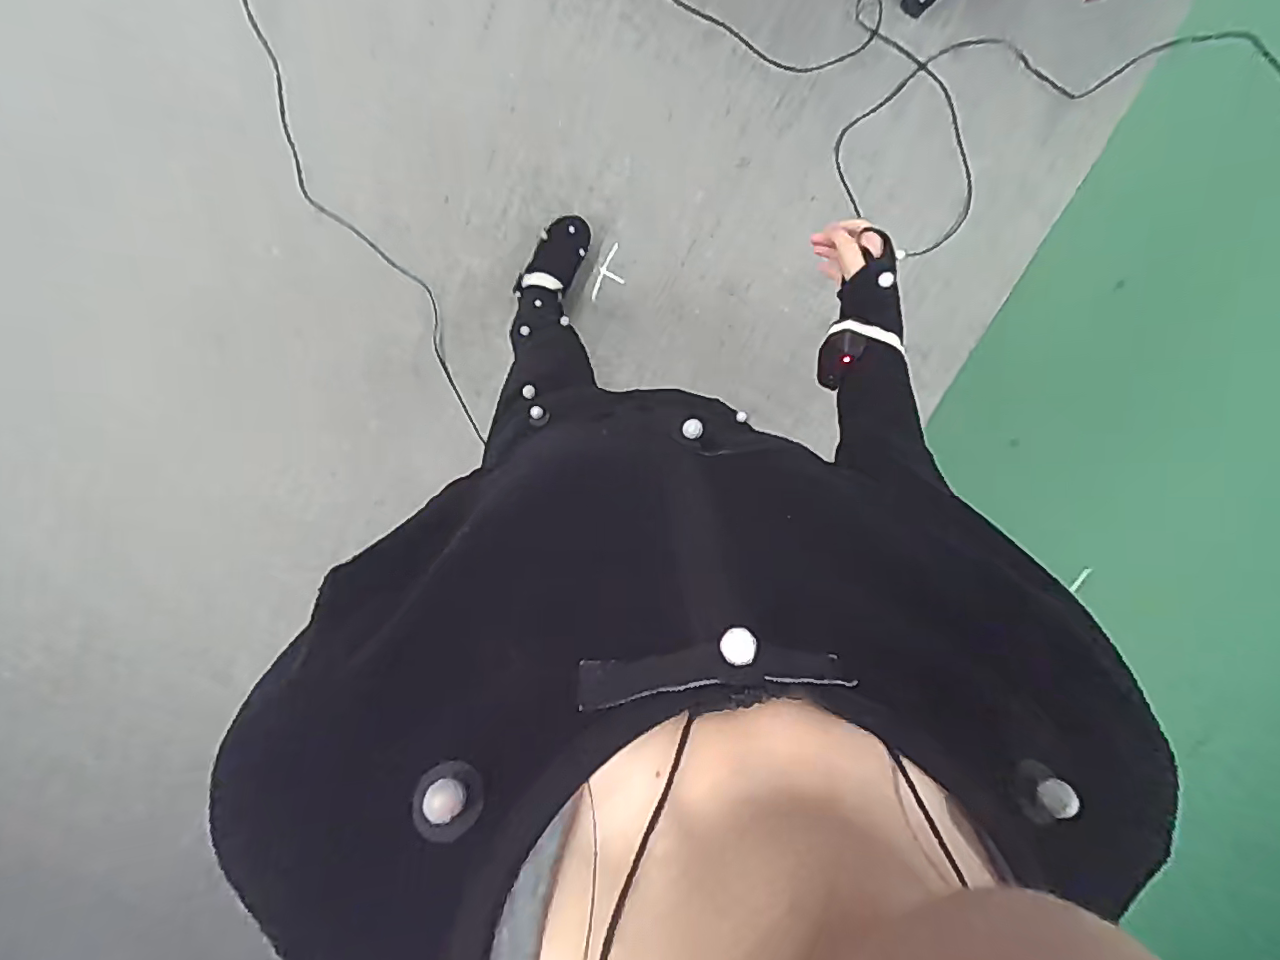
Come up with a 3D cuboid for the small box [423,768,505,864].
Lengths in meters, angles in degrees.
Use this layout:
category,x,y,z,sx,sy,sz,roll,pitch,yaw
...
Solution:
category,x,y,z,sx,sy,sz,roll,pitch,yaw
small box,-0.538,1.031,1.671,0.179,0.176,0.168,24,103,-12
